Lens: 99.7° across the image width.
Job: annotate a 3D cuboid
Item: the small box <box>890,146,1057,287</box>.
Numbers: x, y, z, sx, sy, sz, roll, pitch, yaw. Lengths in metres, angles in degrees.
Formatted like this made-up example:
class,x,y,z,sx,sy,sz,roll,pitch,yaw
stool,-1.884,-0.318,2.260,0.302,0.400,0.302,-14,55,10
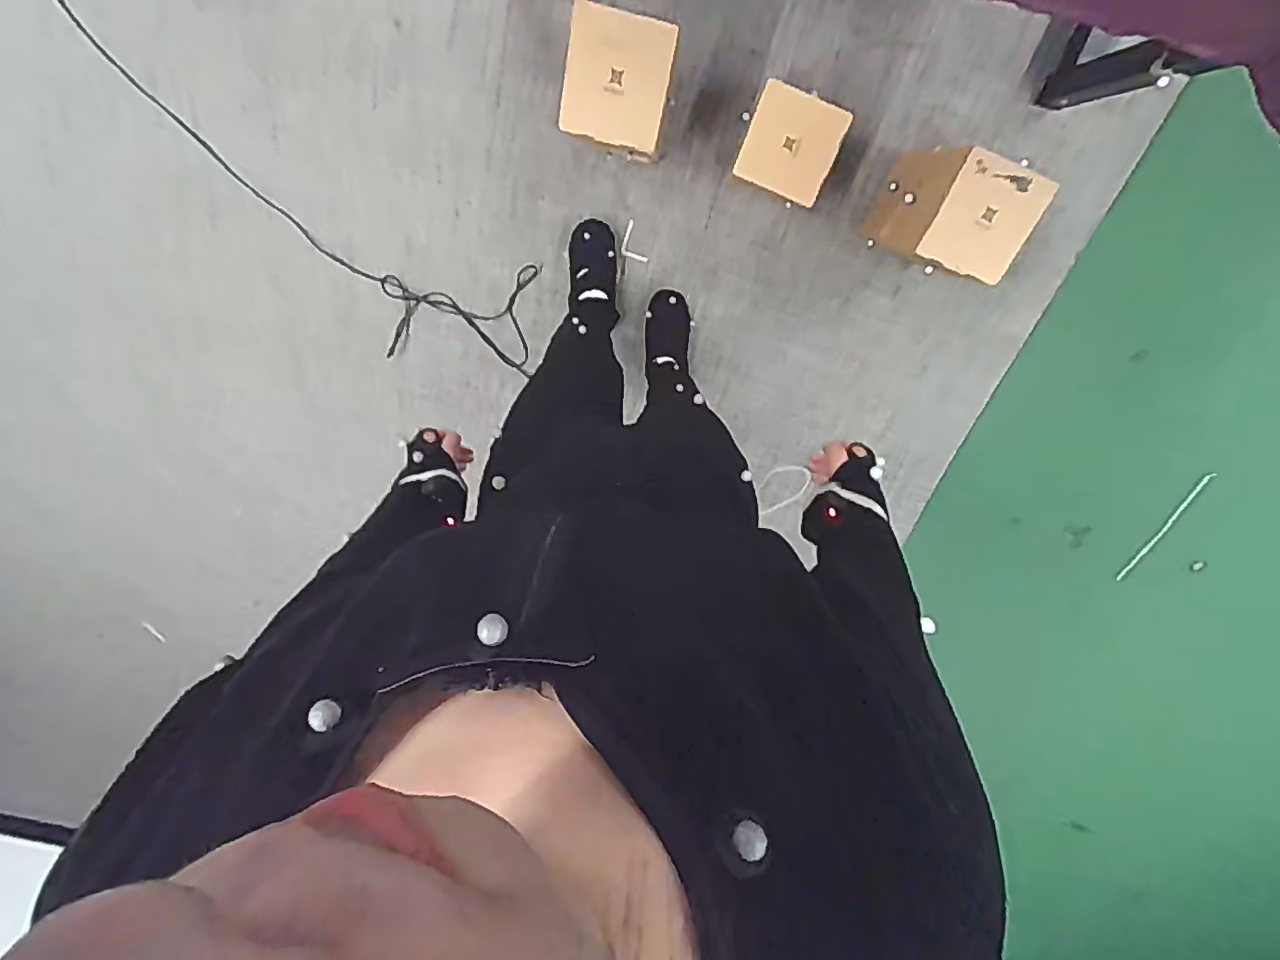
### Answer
class,x,y,z,sx,sy,sz,roll,pitch,yaw
small box,0.587,-0.479,0.987,0.168,0.176,0.179,20,118,-7

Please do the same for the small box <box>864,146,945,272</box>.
class,x,y,z,sx,sy,sz,roll,pitch,yaw
small box,0.596,-0.561,1.129,0.168,0.176,0.179,23,116,-8
